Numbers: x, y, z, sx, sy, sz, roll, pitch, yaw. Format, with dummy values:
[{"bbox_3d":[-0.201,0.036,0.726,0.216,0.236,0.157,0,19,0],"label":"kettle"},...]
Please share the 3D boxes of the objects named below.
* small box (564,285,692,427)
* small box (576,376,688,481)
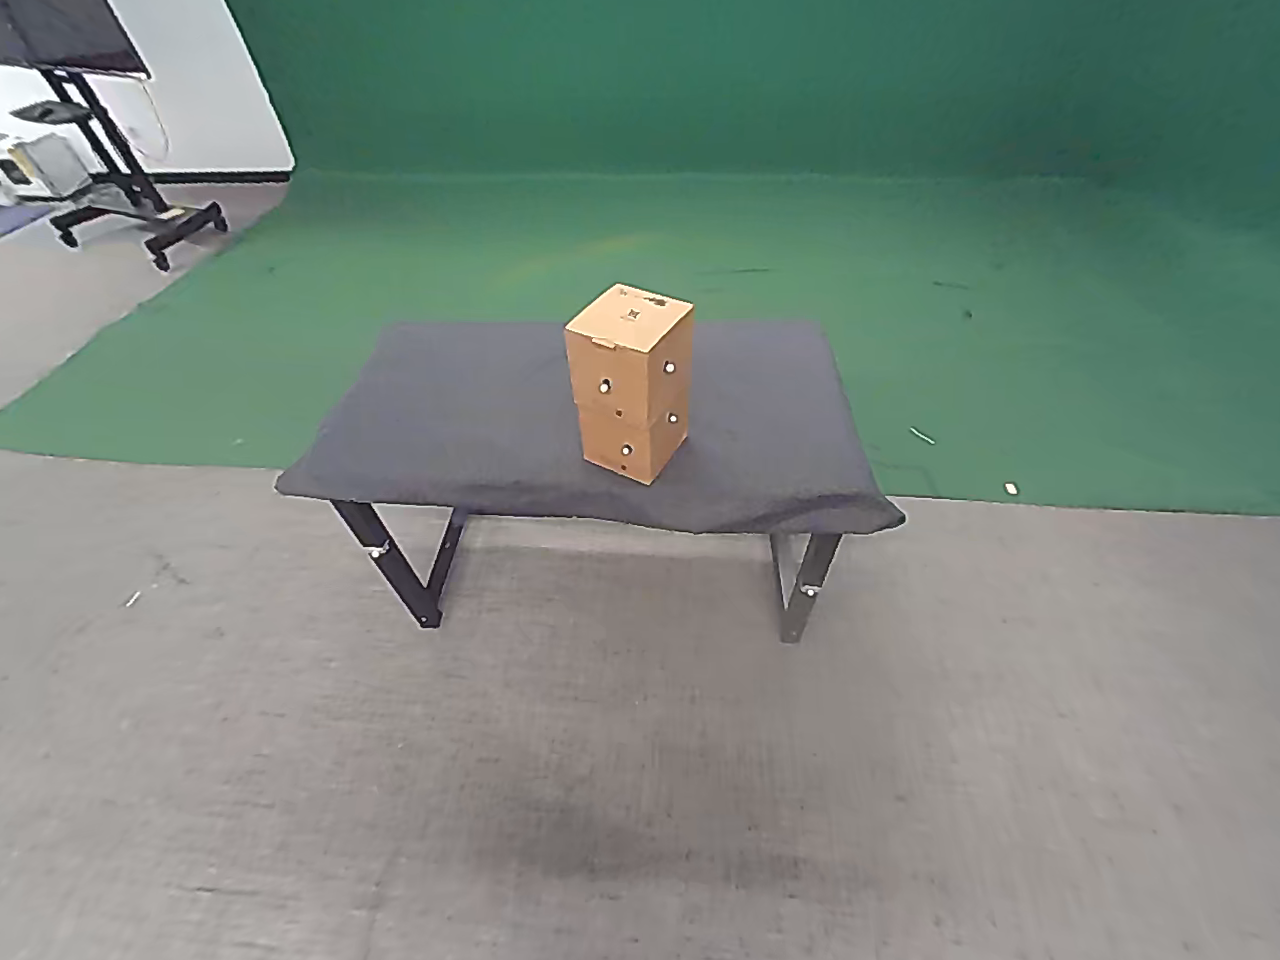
[{"bbox_3d":[-0.015,-0.226,0.996,0.168,0.176,0.179,23,54,20],"label":"small box"},{"bbox_3d":[-0.011,-0.126,1.126,0.168,0.176,0.179,23,52,20],"label":"small box"}]
